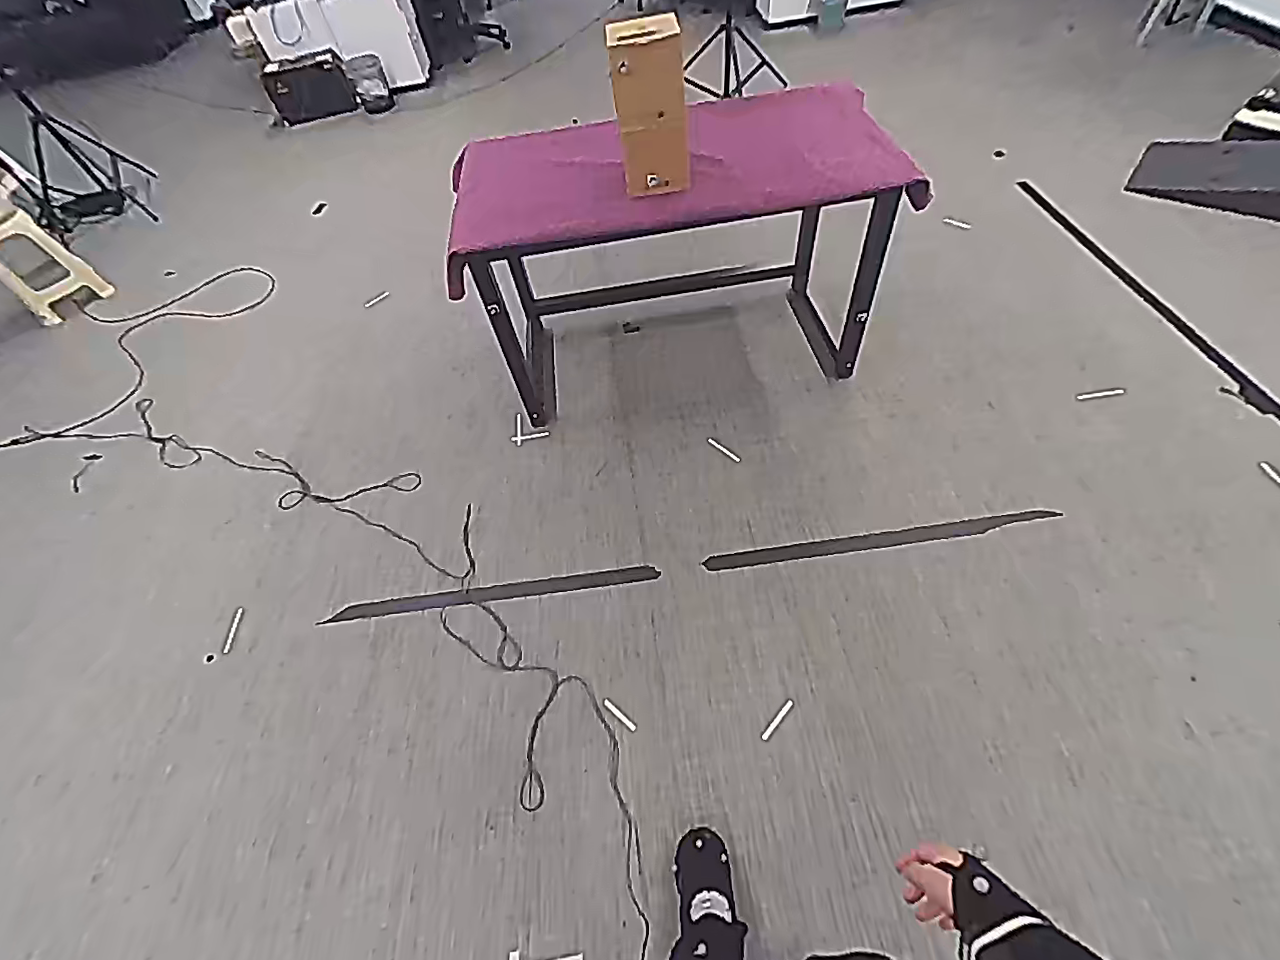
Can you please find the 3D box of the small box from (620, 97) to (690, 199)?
[{"bbox_3d":[0.040,-0.872,1.424,0.168,0.176,0.179,-7,54,3],"label":"small box"}]
